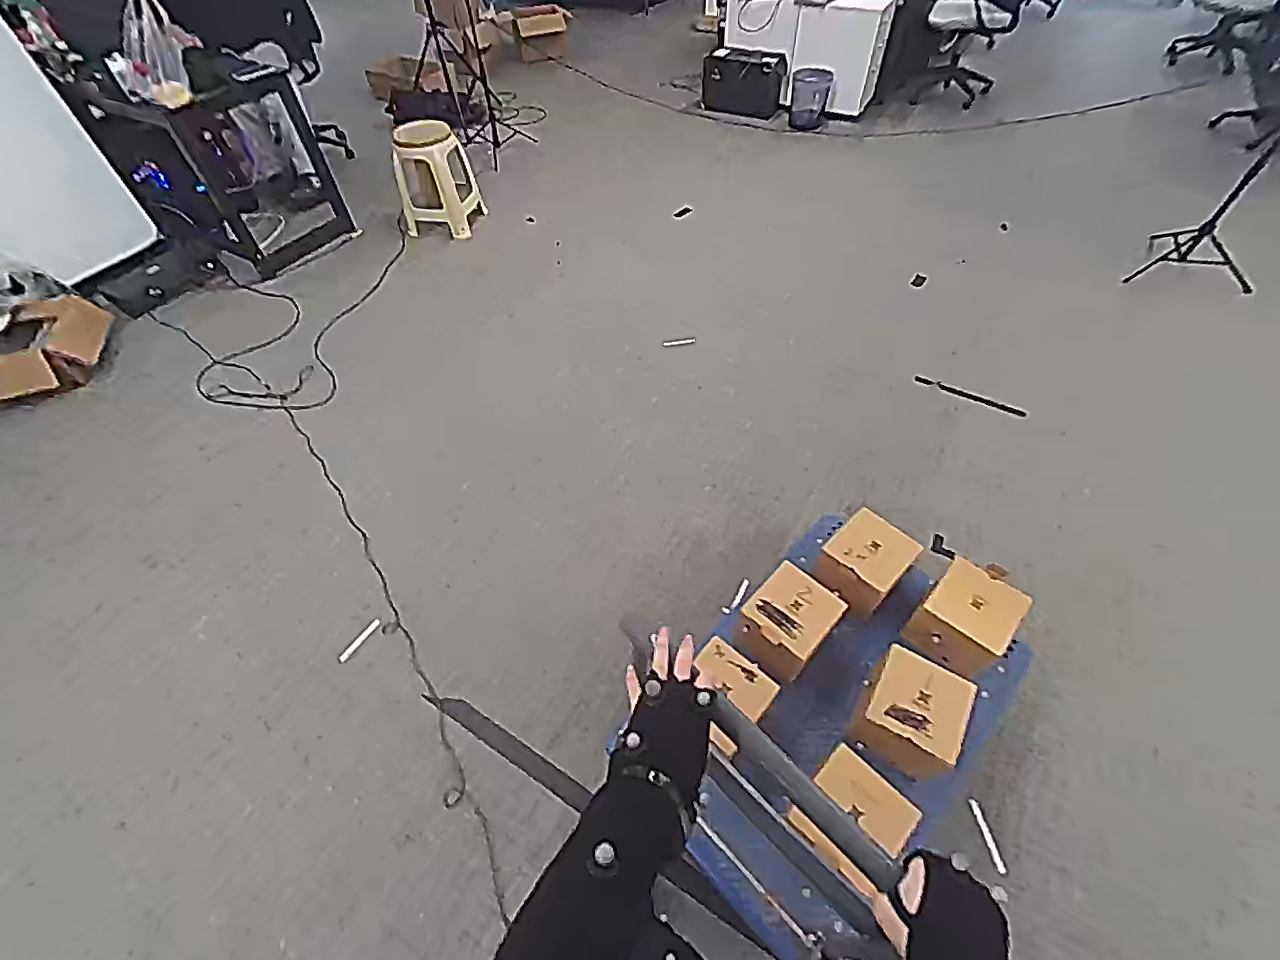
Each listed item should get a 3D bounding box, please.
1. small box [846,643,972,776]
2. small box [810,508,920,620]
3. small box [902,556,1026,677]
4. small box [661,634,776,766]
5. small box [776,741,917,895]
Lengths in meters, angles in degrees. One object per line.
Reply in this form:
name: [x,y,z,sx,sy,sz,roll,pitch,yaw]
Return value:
small box: [0.549,0.481,1.123,0.168,0.176,0.179,27,57,21]
small box: [0.544,0.209,1.333,0.179,0.176,0.168,-37,59,-22]
small box: [0.733,0.318,1.242,0.168,0.176,0.179,35,61,26]
small box: [0.163,0.470,1.146,0.168,0.176,0.179,36,62,25]
small box: [0.373,0.634,1.013,0.179,0.176,0.168,-37,60,-24]
